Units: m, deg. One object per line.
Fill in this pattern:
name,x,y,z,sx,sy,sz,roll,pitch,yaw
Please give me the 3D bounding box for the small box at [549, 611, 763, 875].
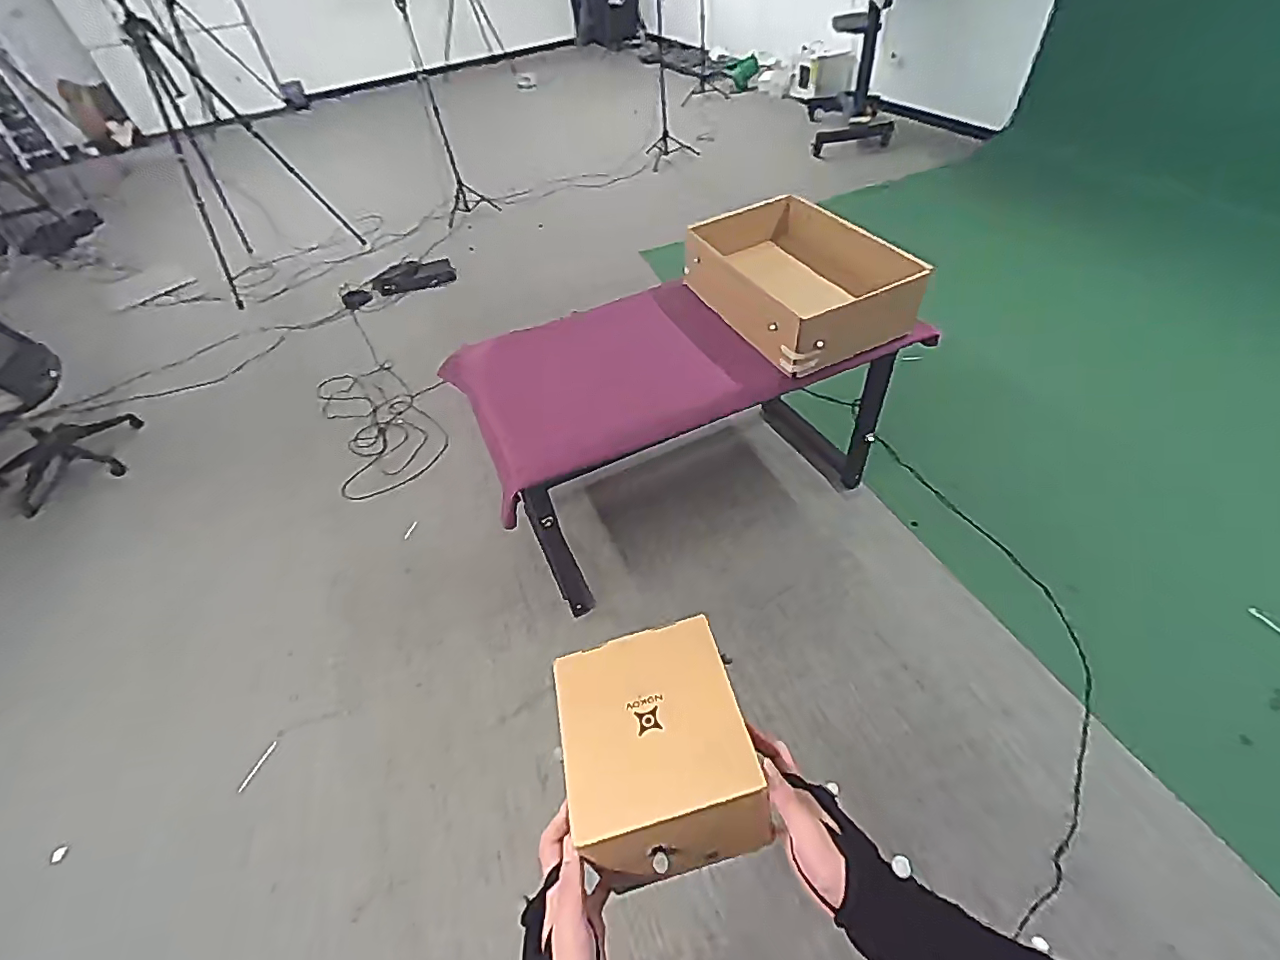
small box,0.017,0.271,0.549,0.168,0.176,0.179,-17,40,-2
